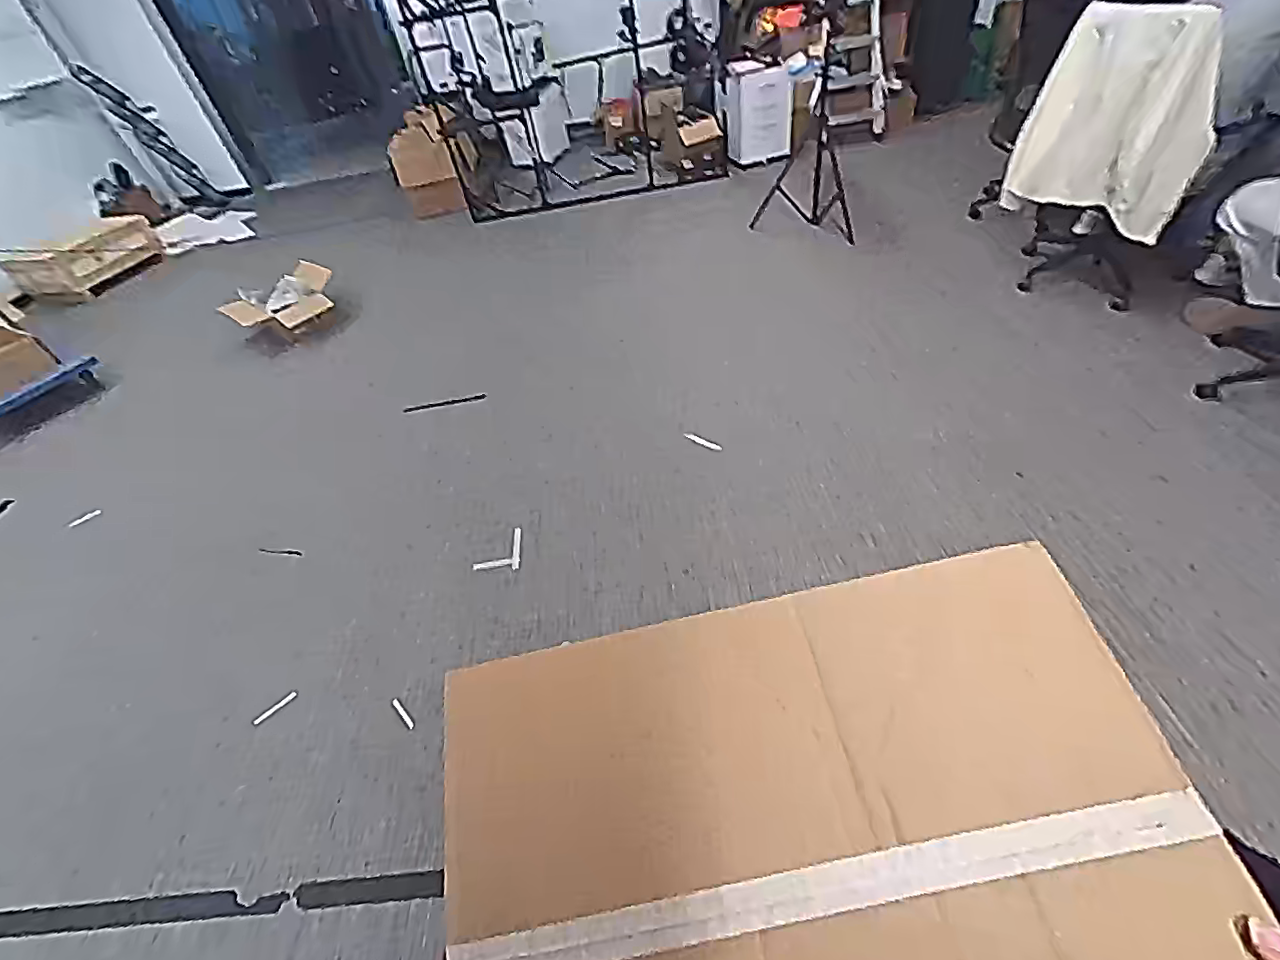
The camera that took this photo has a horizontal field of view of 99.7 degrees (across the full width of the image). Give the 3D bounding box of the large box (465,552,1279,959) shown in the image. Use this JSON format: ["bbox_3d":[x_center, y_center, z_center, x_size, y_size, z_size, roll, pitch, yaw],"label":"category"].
[{"bbox_3d":[0.120,0.297,0.421,0.408,0.320,0.320,-14,60,2],"label":"large box"}]
